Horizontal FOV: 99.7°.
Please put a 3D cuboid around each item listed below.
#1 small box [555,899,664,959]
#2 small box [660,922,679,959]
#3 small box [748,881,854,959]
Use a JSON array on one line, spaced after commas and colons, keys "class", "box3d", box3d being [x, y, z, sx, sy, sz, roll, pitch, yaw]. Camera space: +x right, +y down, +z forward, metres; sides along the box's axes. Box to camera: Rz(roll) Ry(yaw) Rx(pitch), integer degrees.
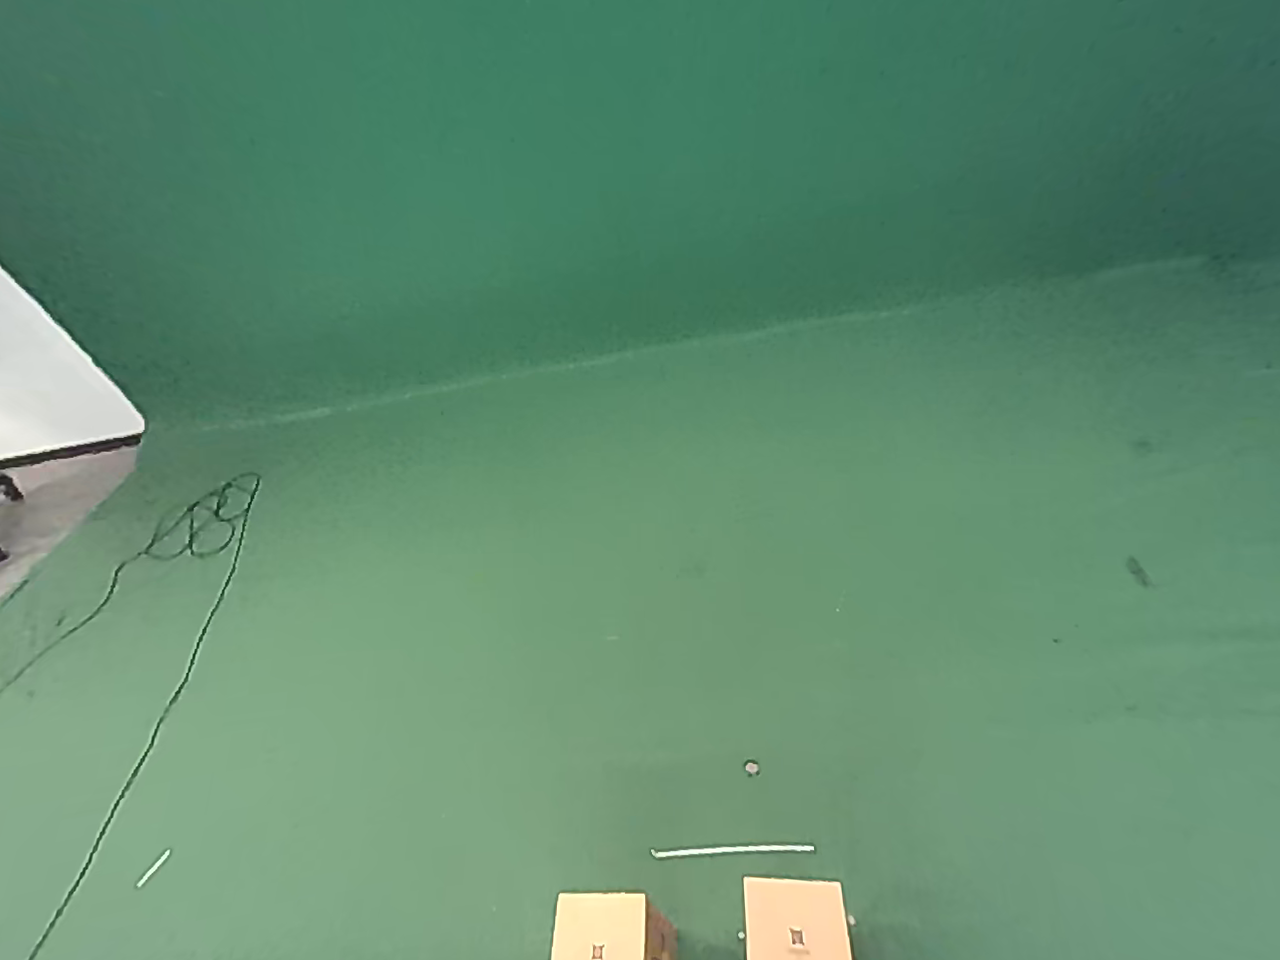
[{"class": "small box", "box3d": [-0.051, 0.876, 0.964, 0.168, 0.176, 0.179, -8, 41, 10]}, {"class": "small box", "box3d": [-0.018, 0.994, 1.072, 0.179, 0.176, 0.168, -9, 41, 10]}, {"class": "small box", "box3d": [0.274, 0.817, 0.925, 0.168, 0.176, 0.179, -5, 42, 12]}]
